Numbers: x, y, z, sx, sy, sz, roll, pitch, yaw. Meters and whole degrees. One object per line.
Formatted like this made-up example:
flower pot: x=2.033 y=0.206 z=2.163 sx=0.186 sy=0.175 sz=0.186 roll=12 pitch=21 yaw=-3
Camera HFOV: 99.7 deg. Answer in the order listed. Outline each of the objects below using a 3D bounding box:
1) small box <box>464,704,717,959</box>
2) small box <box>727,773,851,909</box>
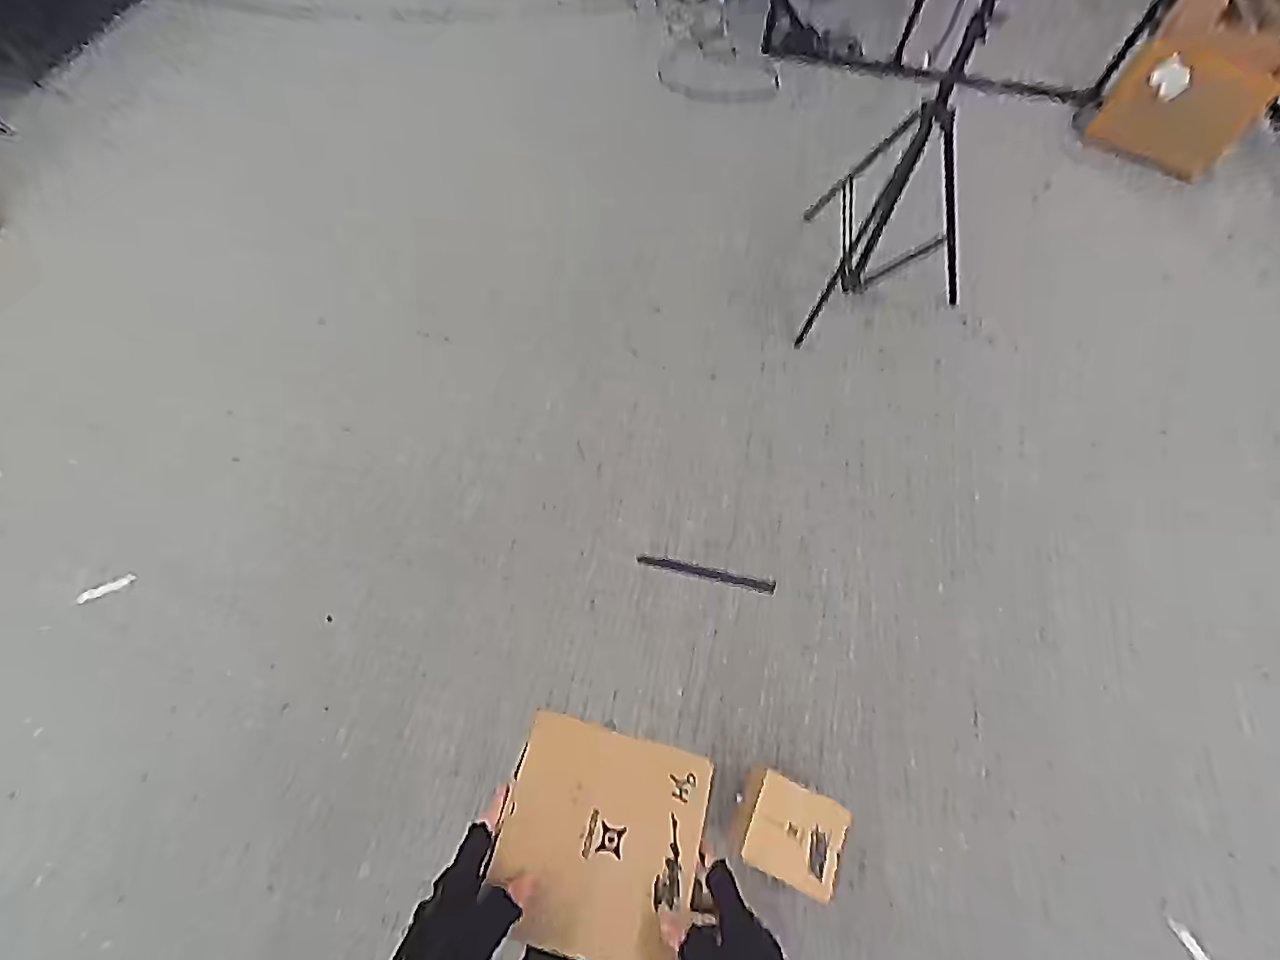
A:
small box: x=-0.048 y=0.332 z=0.518 sx=0.179 sy=0.176 sz=0.168 roll=19 pitch=61 yaw=-3
small box: x=0.295 y=0.715 z=1.097 sx=0.179 sy=0.176 sz=0.168 roll=23 pitch=66 yaw=11
